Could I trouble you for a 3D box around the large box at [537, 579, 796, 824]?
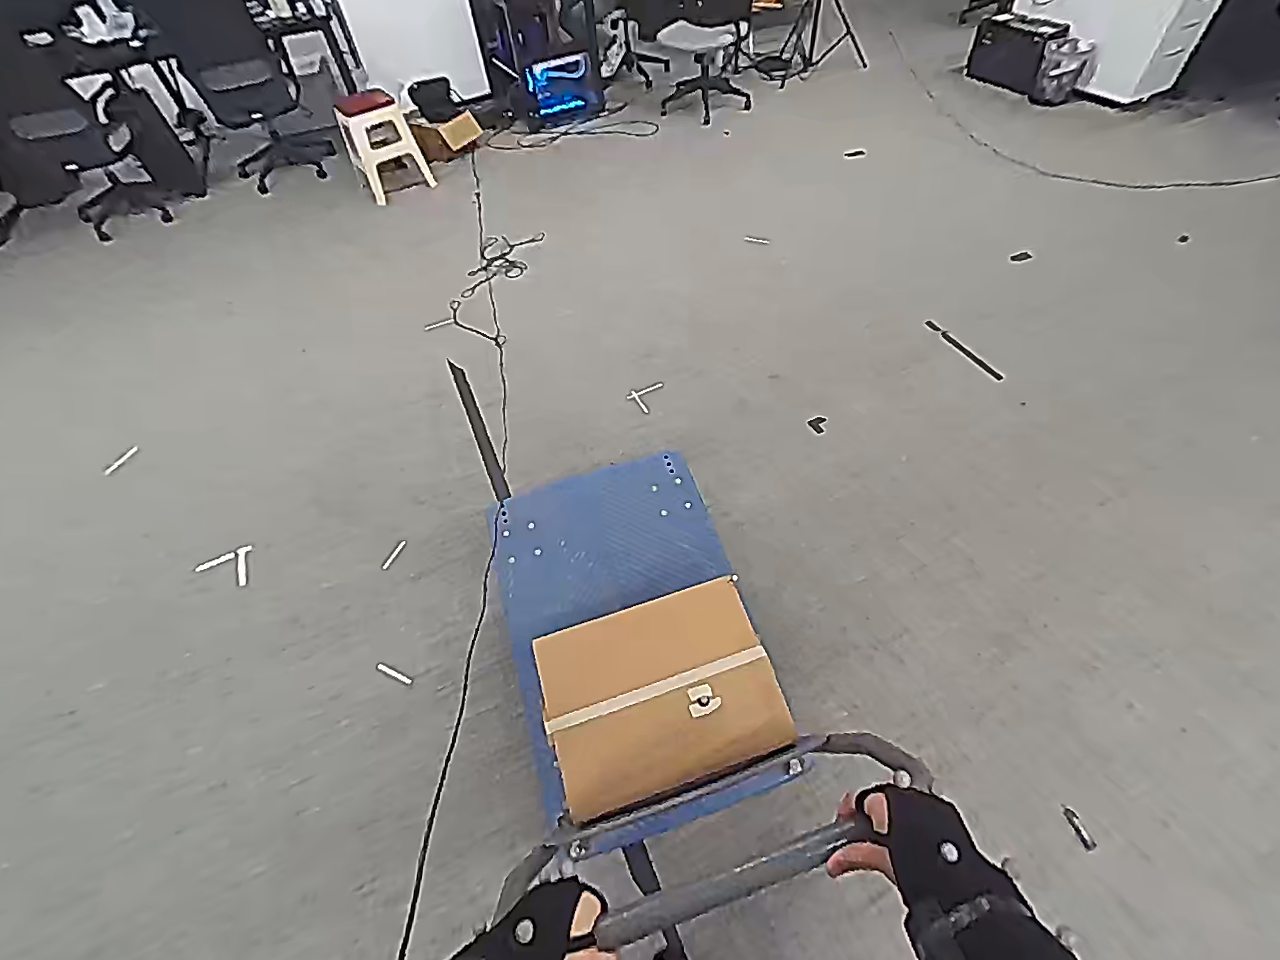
[{"bbox_3d":[0.043,0.457,1.109,0.408,0.320,0.320,-17,61,-8],"label":"large box"}]
